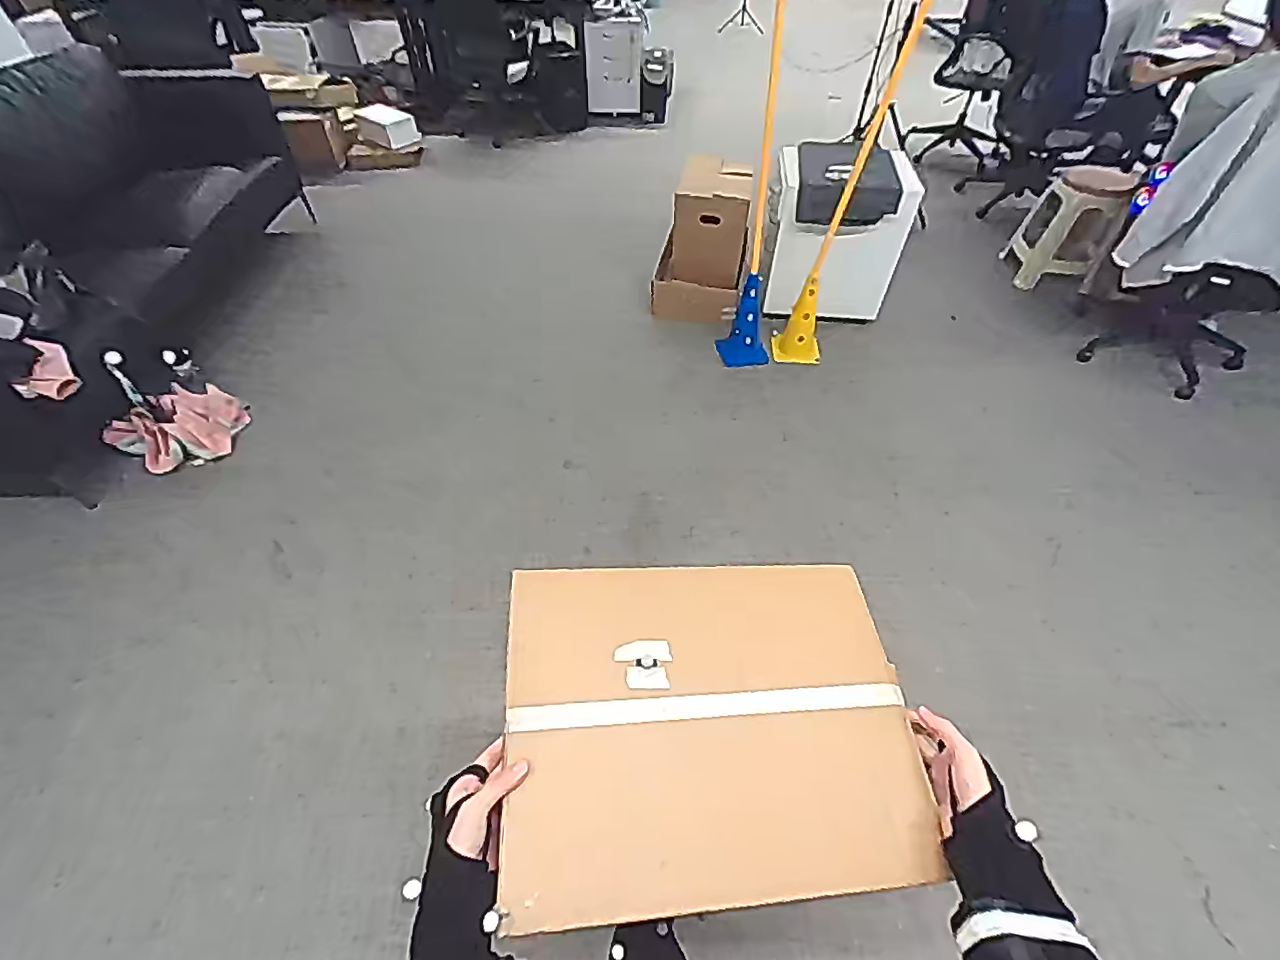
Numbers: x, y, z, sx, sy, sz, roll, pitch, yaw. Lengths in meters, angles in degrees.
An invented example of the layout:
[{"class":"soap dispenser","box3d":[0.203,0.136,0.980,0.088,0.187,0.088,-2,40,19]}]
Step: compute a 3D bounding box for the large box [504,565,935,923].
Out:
[{"class":"large box","box3d":[0.053,0.317,0.678,0.408,0.320,0.320,0,55,-9]}]
